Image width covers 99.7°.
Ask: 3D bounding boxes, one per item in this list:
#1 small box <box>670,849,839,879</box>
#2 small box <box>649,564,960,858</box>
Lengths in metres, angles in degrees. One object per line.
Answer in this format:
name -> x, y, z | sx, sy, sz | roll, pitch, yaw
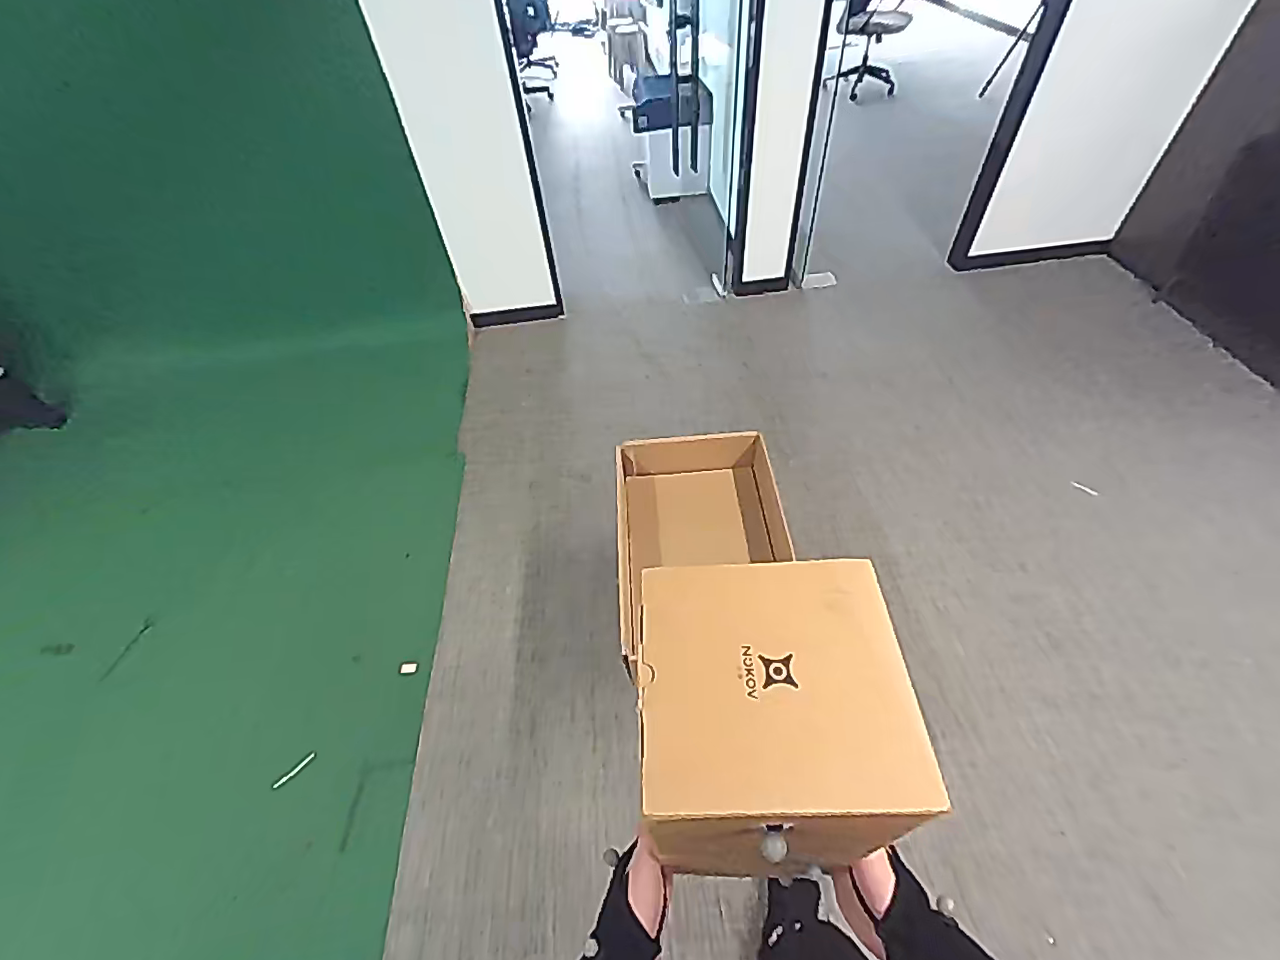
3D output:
small box -> 0.127, 0.382, 0.669 | 0.179, 0.176, 0.168 | -2, 49, 5
small box -> 0.098, 0.179, 0.414 | 0.179, 0.176, 0.168 | -3, 49, 4
